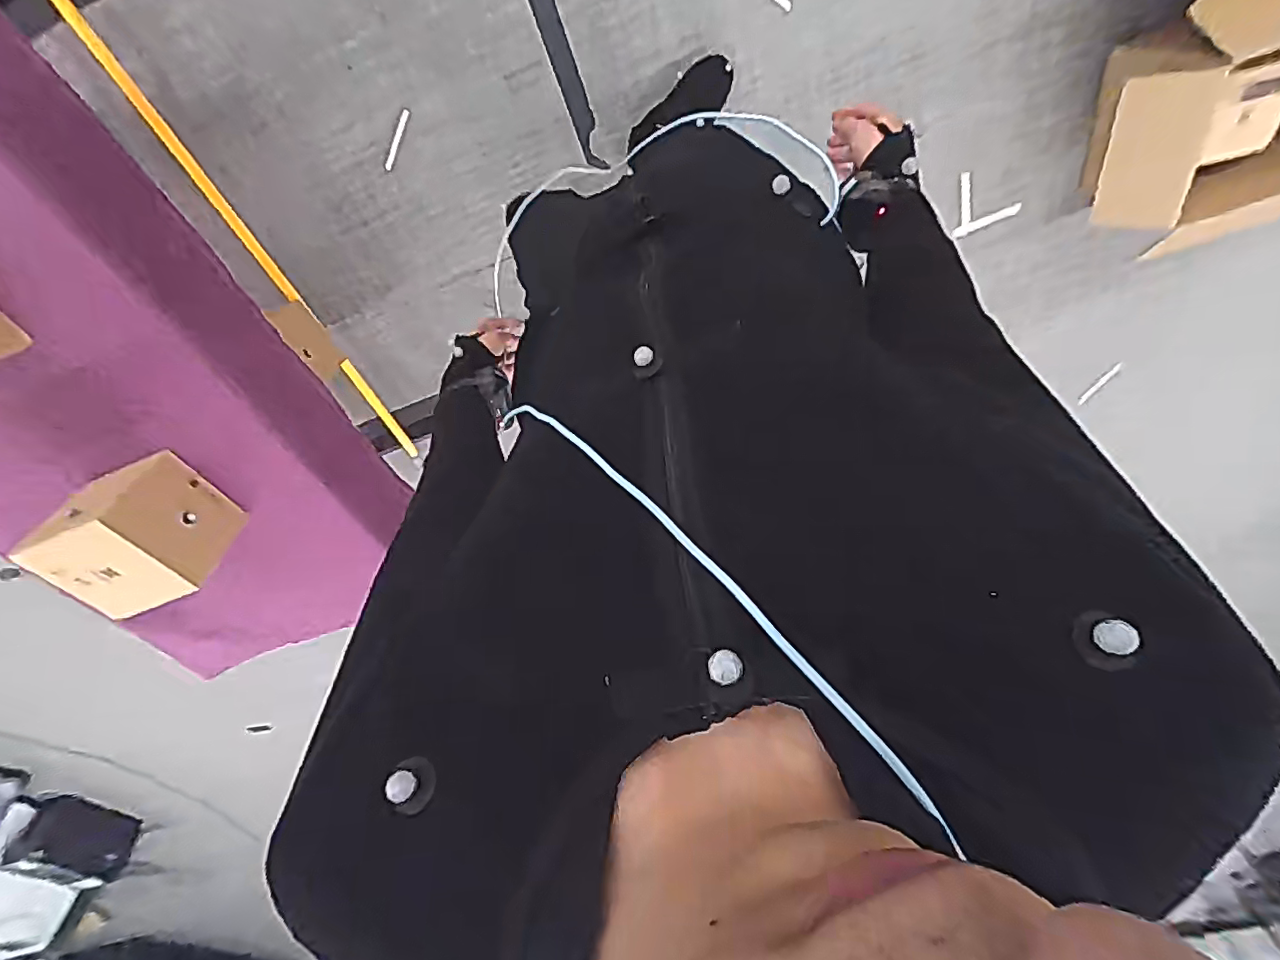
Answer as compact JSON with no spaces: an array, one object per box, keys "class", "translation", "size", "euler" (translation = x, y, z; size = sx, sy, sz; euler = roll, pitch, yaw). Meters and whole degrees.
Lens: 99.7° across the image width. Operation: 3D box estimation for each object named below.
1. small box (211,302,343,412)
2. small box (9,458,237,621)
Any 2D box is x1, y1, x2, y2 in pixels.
[{"class":"small box","translation":[-0.876,-0.304,1.327],"size":[0.168,0.176,0.179],"euler":[-20,127,11]},{"class":"small box","translation":[-0.793,0.090,0.860],"size":[0.179,0.176,0.168],"euler":[-19,128,11]}]
